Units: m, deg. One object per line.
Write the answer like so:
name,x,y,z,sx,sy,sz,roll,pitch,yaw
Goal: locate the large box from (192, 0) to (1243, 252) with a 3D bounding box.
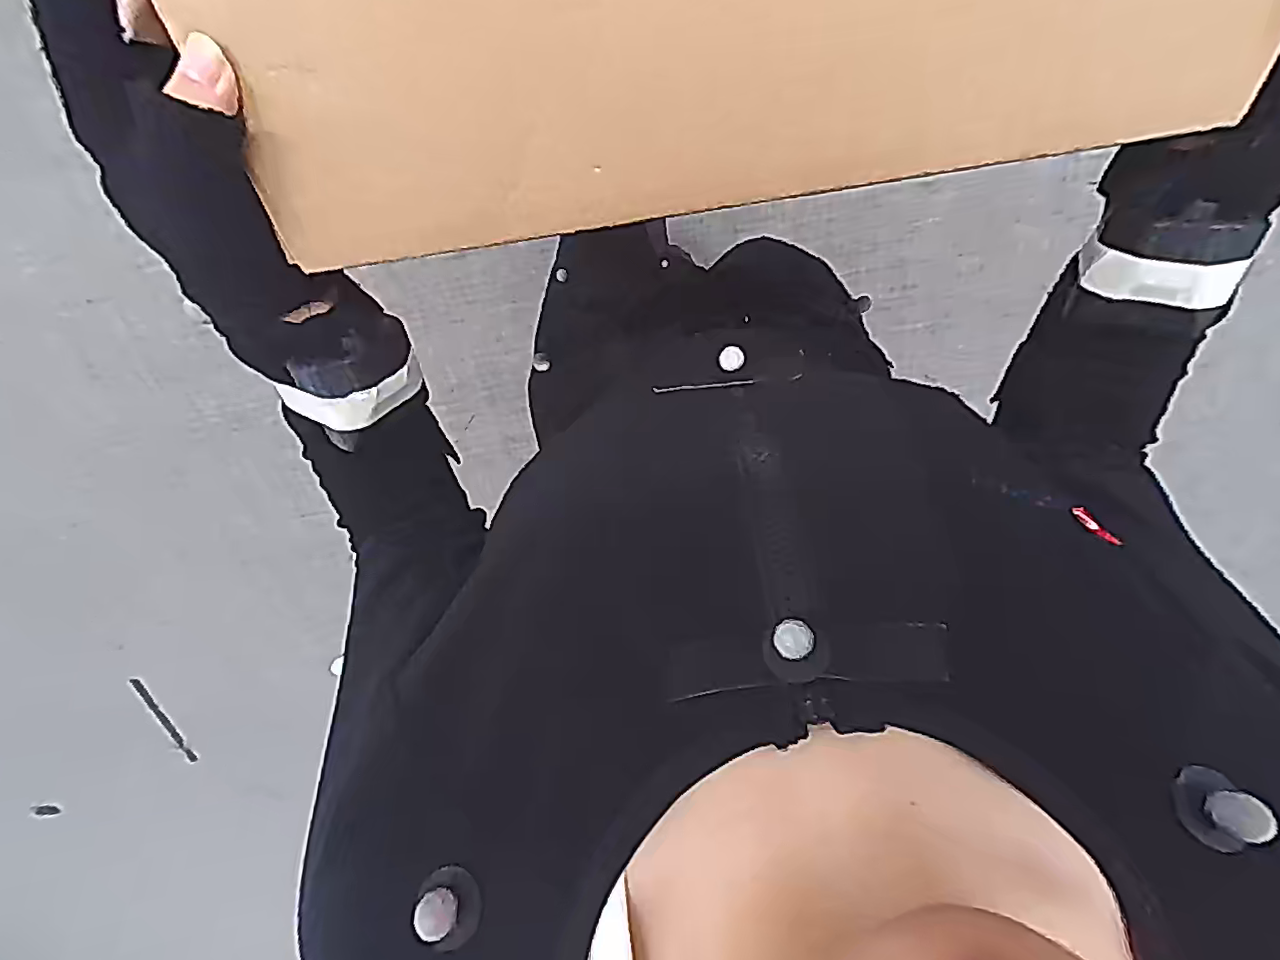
large box,0.014,-0.344,0.264,0.408,0.320,0.320,-8,130,3
